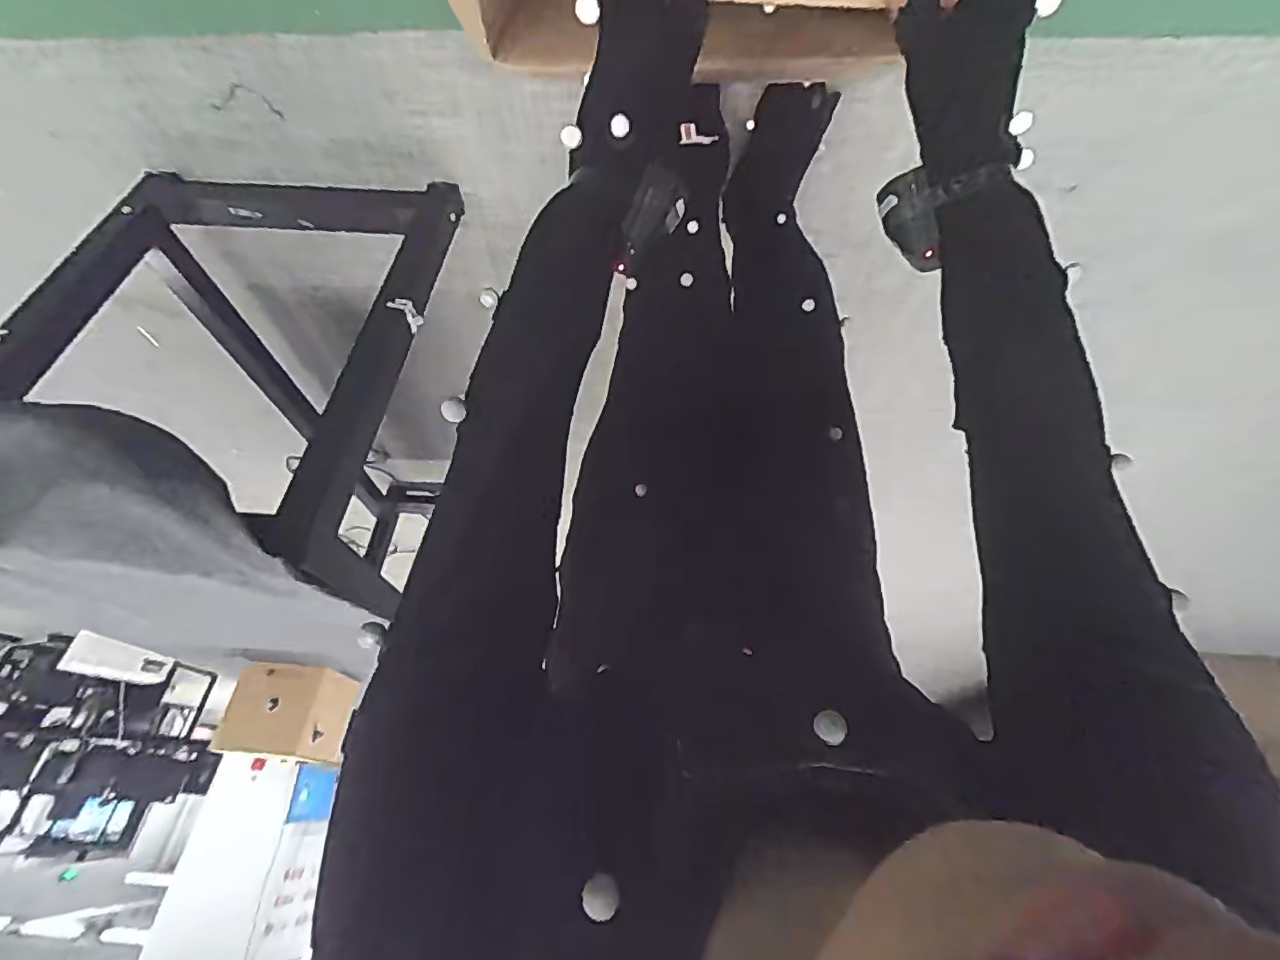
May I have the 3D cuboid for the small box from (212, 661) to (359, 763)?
[{"bbox_3d":[-0.717,0.481,1.118,0.168,0.176,0.179,5,149,1],"label":"small box"}]

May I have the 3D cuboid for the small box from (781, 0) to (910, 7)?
[{"bbox_3d":[0.112,-0.451,0.362,0.179,0.176,0.168,3,145,1],"label":"small box"}]
